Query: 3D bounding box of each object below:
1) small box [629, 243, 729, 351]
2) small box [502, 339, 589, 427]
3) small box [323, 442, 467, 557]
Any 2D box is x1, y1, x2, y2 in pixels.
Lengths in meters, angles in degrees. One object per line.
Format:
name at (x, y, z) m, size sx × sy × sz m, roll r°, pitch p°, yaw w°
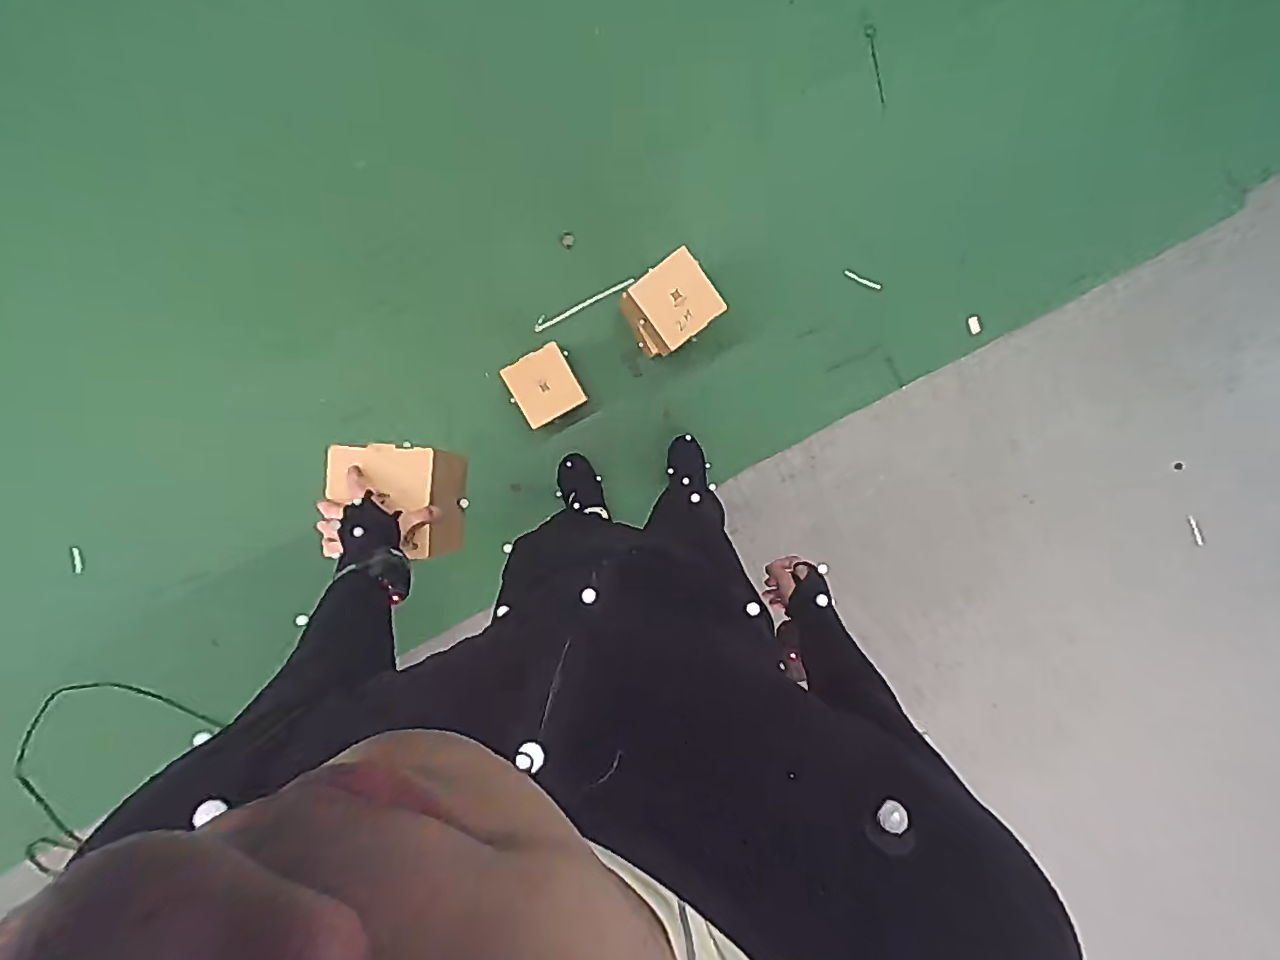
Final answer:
small box at (0.085, -0.431, 1.310) m, size 0.168 × 0.176 × 0.179 m, roll -37°, pitch 100°, yaw 2°
small box at (-0.249, -0.263, 1.482) m, size 0.168 × 0.176 × 0.179 m, roll -29°, pitch 98°, yaw 1°
small box at (-0.404, 0.035, 0.918) m, size 0.168 × 0.176 × 0.179 m, roll 2°, pitch 87°, yaw 2°
